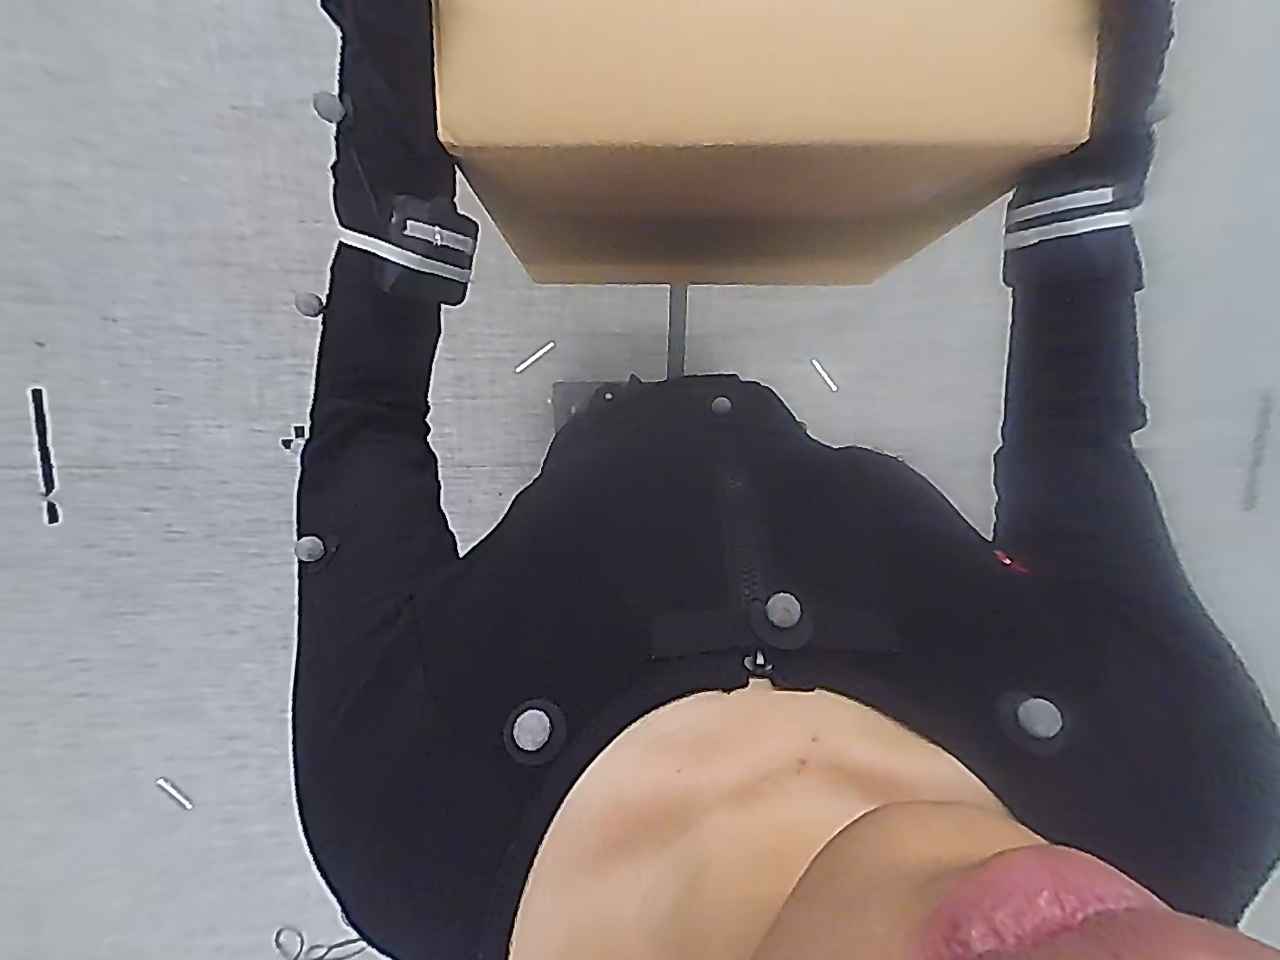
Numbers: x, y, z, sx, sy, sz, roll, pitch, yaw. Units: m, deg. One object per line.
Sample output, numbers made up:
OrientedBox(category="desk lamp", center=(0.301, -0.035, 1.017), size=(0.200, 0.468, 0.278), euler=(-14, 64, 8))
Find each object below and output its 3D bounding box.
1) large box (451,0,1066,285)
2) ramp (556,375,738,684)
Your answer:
OrientedBox(category="large box", center=(0.072, -0.381, 0.492), size=(0.408, 0.320, 0.320), euler=(-1, 94, -1))
OrientedBox(category="ramp", center=(0.021, 0.191, 1.603), size=(0.509, 0.206, 0.991), euler=(-2, 100, -2))
